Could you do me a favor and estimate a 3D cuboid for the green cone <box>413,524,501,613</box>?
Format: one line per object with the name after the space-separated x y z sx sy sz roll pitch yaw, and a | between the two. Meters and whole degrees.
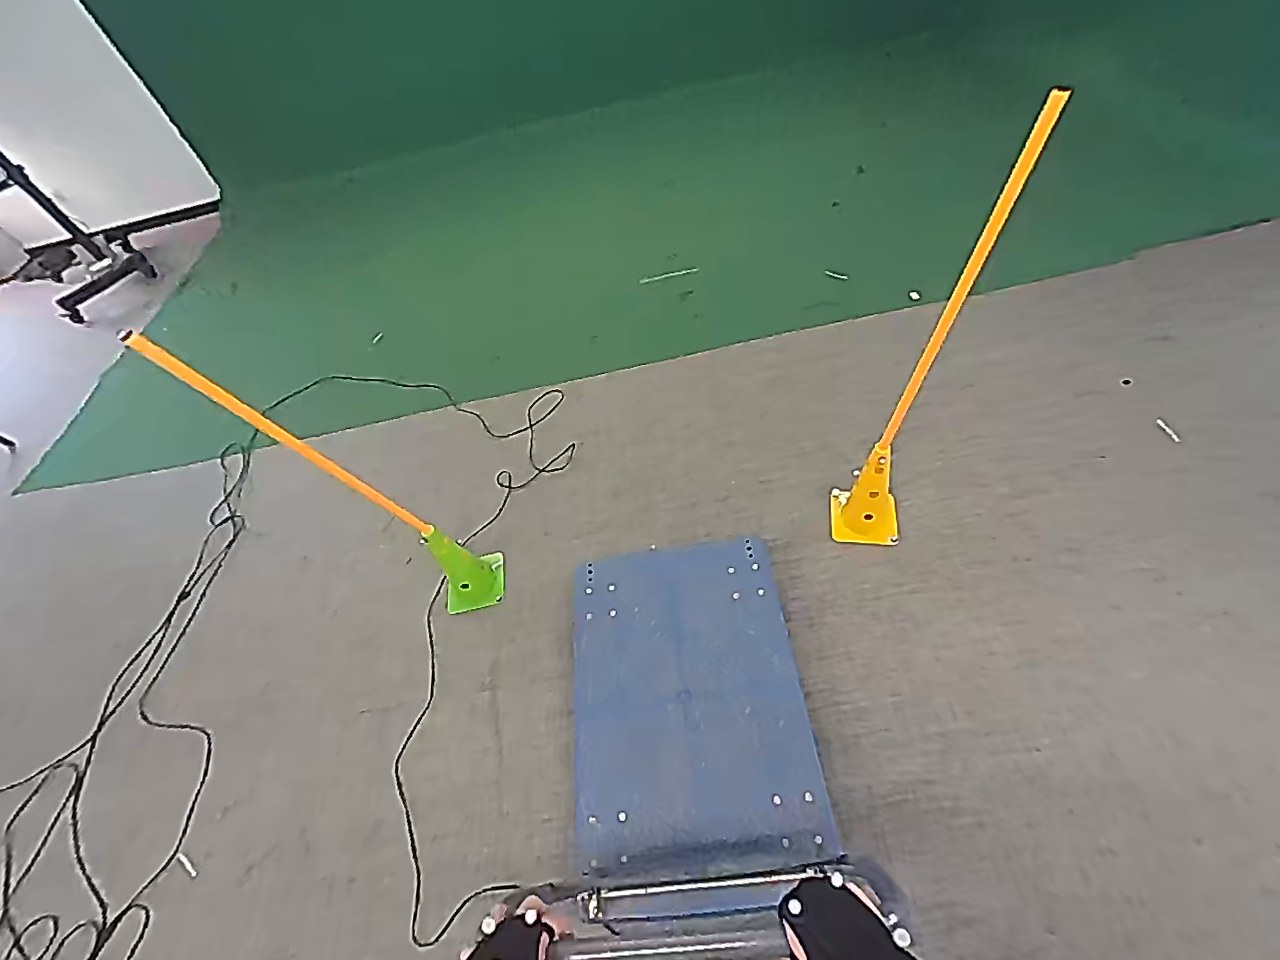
-0.613 0.249 1.737 0.202 0.368 0.200 -15 51 3 | green cone
